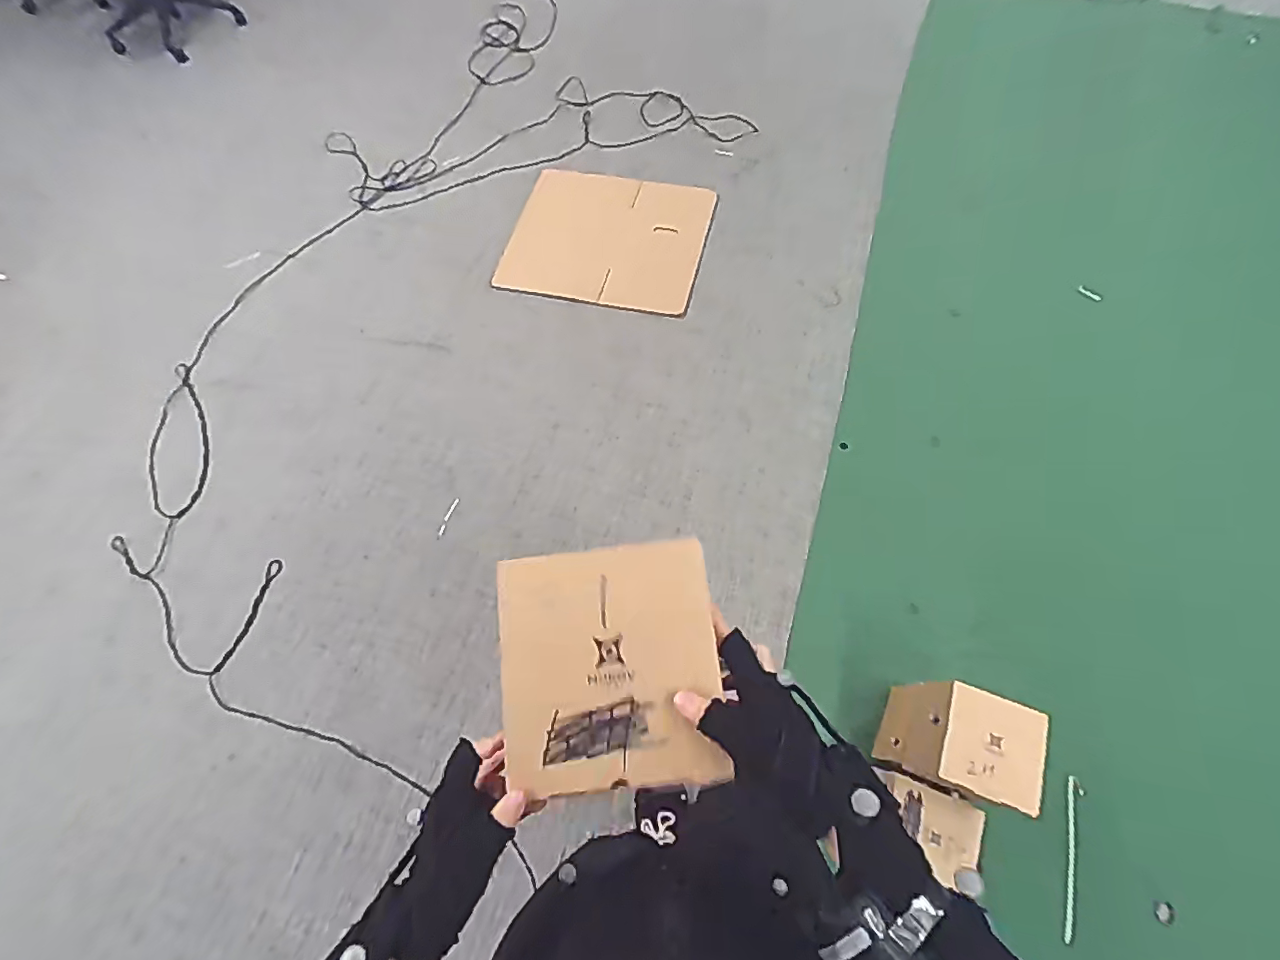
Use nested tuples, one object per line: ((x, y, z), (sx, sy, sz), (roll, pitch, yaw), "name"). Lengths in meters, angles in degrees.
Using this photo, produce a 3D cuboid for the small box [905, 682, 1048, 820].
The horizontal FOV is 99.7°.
((0.630, 0.506, 1.028), (0.168, 0.176, 0.179), (19, 69, 12), "small box")
